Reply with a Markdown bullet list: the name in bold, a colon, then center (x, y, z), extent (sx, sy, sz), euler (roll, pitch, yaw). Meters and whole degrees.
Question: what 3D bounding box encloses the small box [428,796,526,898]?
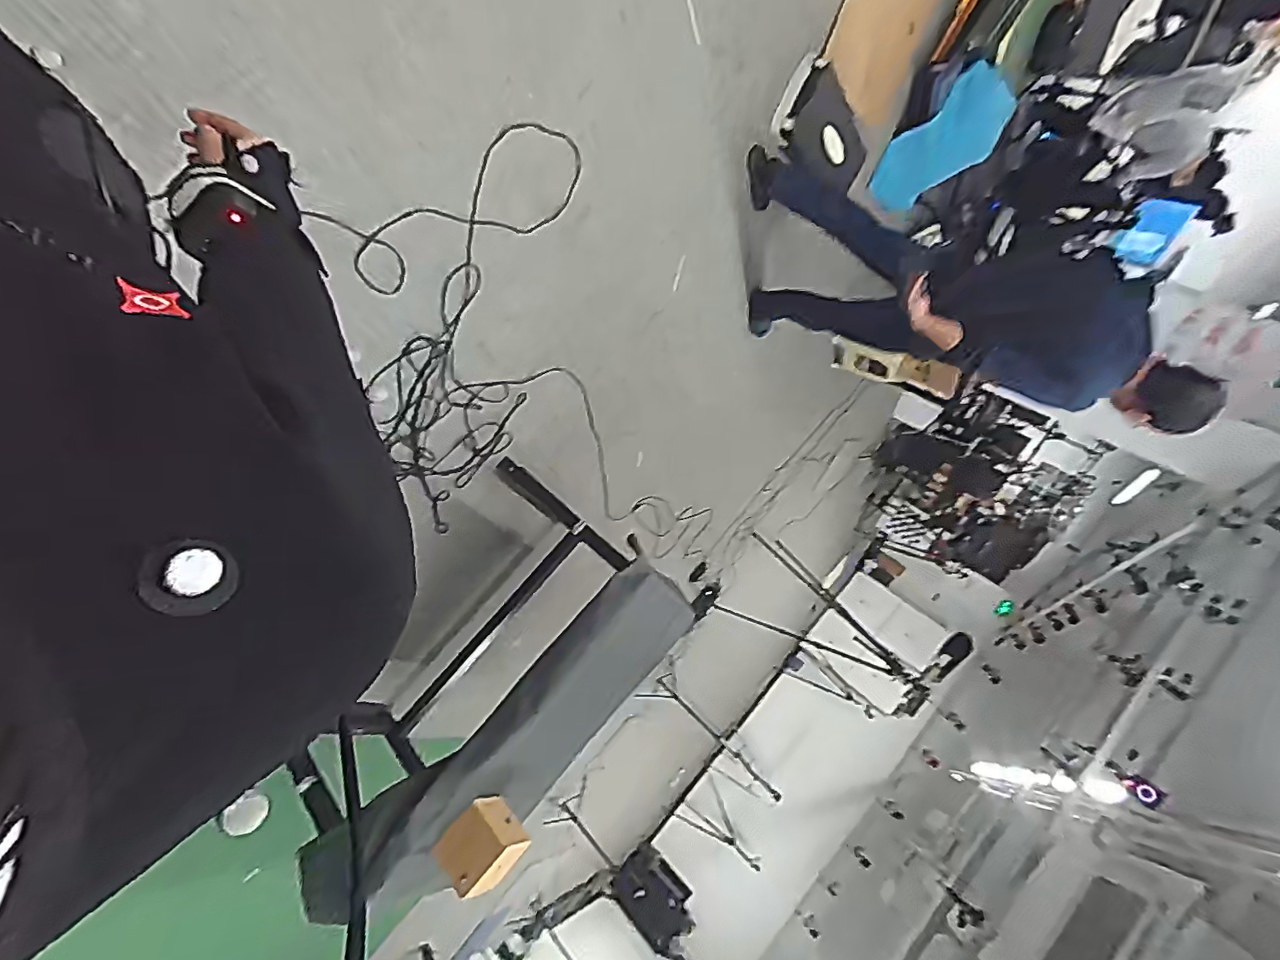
- **small box**: center (-0.470, 1.042, 1.558), extent (0.179, 0.176, 0.168), euler (-47, 151, -10)
